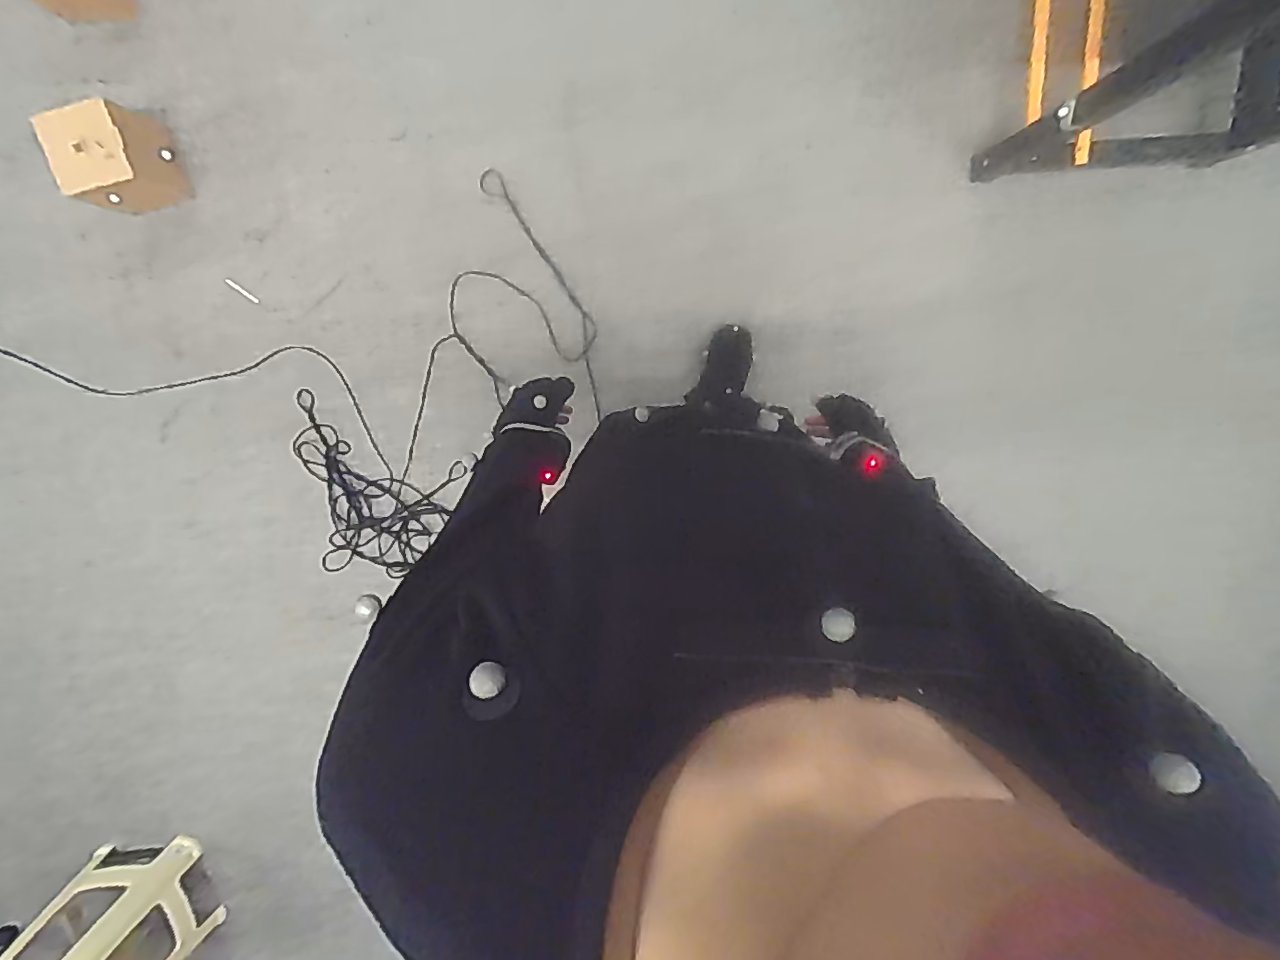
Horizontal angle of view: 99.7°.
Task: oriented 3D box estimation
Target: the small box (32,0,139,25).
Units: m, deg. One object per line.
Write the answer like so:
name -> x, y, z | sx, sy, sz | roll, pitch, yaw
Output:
small box -> -1.260, -1.132, 1.175 | 0.179, 0.176, 0.168 | -1, 102, 1

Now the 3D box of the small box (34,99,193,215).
small box -> -1.209, -0.737, 1.257 | 0.179, 0.176, 0.168 | -13, 102, 3
